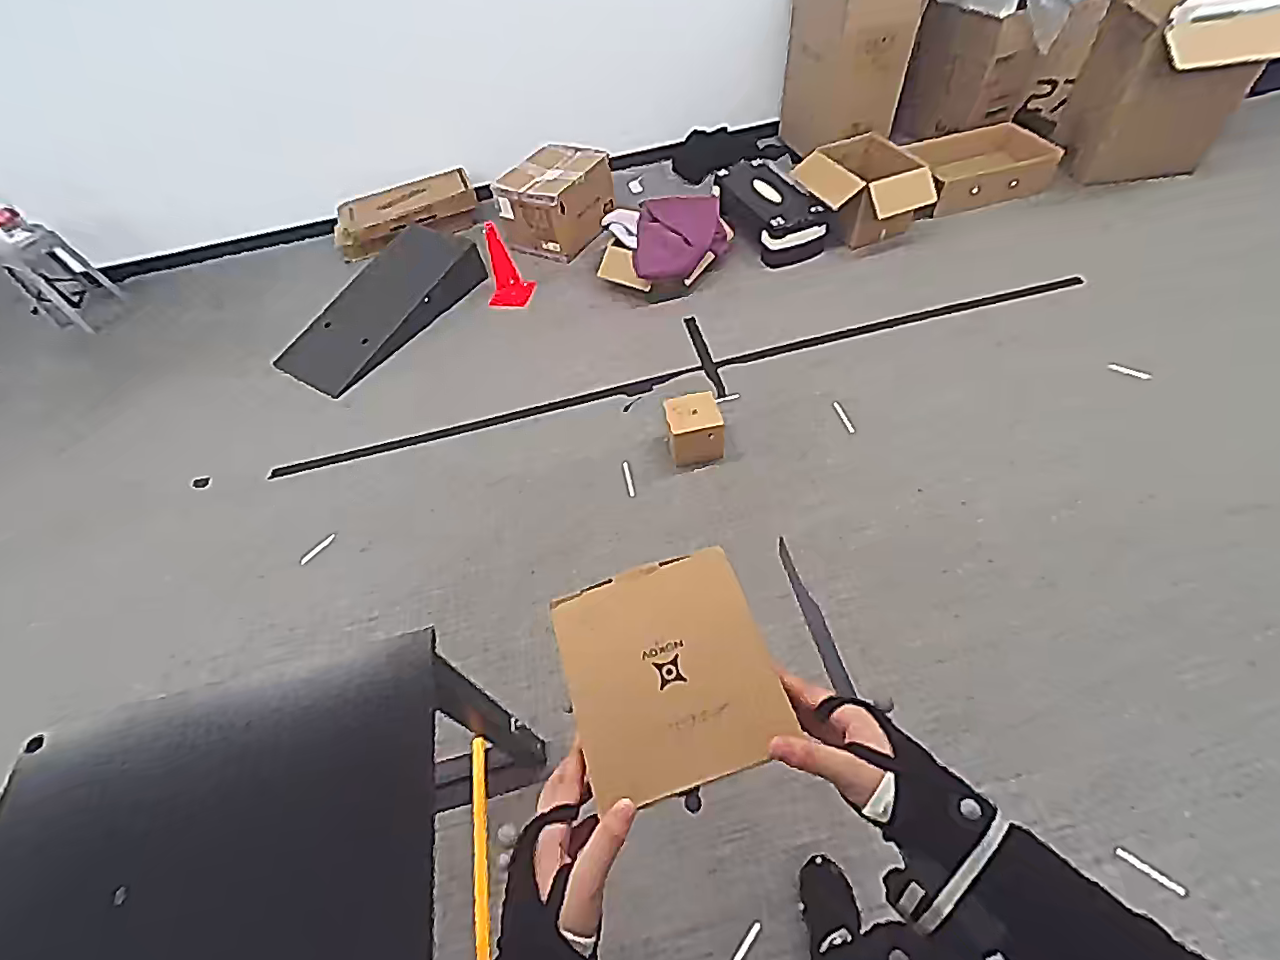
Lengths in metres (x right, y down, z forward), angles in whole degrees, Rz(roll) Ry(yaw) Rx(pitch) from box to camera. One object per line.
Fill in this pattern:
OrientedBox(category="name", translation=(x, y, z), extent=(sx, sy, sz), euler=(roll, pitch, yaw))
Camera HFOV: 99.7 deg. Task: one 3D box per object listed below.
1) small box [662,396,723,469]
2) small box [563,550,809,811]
OrientedBox(category="small box", translation=(0.182, -0.162, 1.876), extent=(0.179, 0.176, 0.168), euler=(-13, 52, -1))
OrientedBox(category="small box", translation=(0.035, 0.197, 0.520), extent=(0.168, 0.176, 0.179), euler=(-17, 60, -4))
